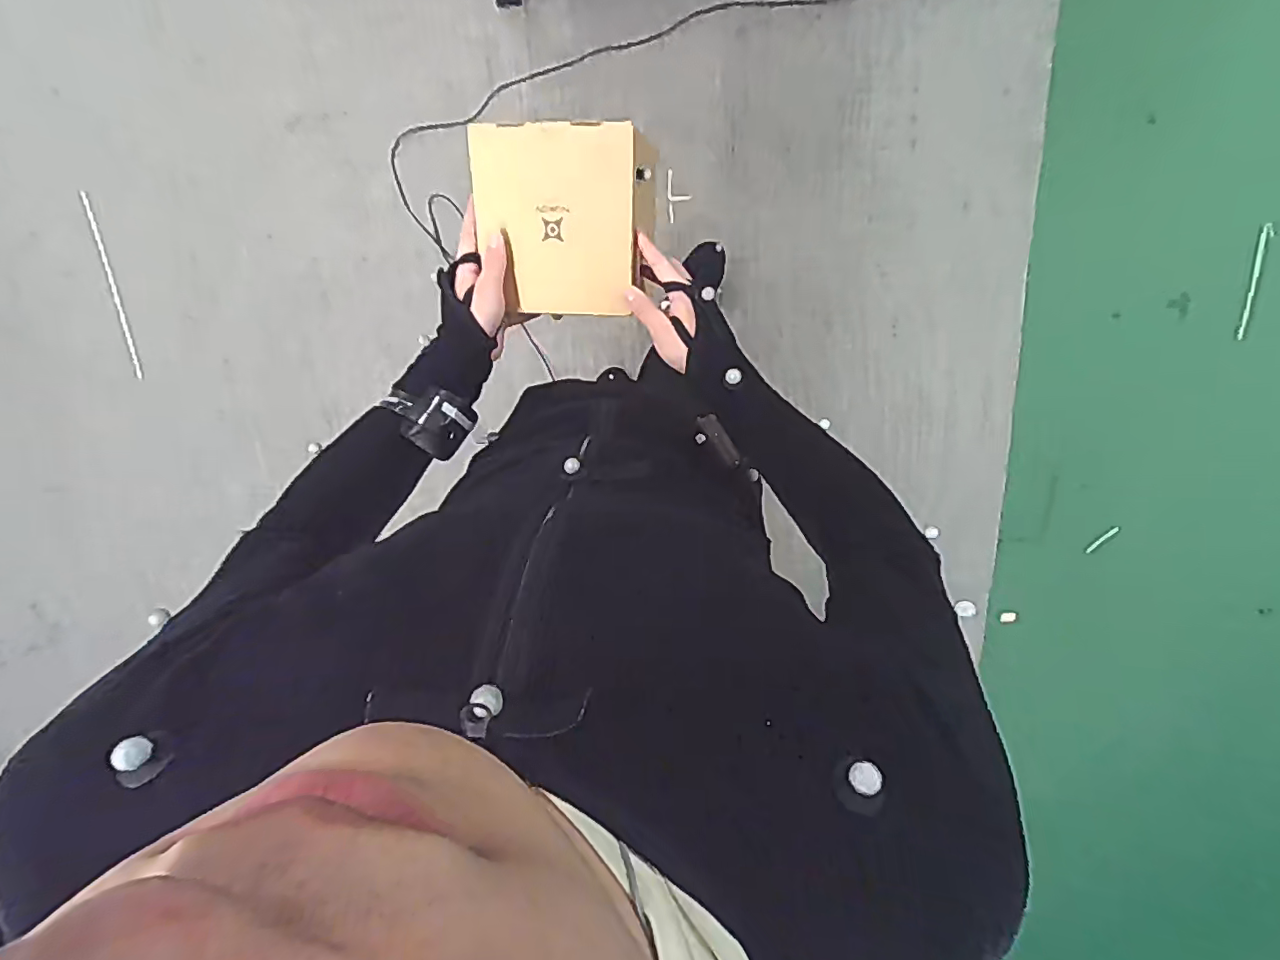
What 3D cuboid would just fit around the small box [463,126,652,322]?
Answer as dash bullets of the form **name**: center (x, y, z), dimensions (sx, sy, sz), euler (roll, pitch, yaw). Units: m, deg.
- **small box**: center (-0.078, -0.281, 0.611), dimensions (0.168, 0.176, 0.179), euler (4, 113, 8)
